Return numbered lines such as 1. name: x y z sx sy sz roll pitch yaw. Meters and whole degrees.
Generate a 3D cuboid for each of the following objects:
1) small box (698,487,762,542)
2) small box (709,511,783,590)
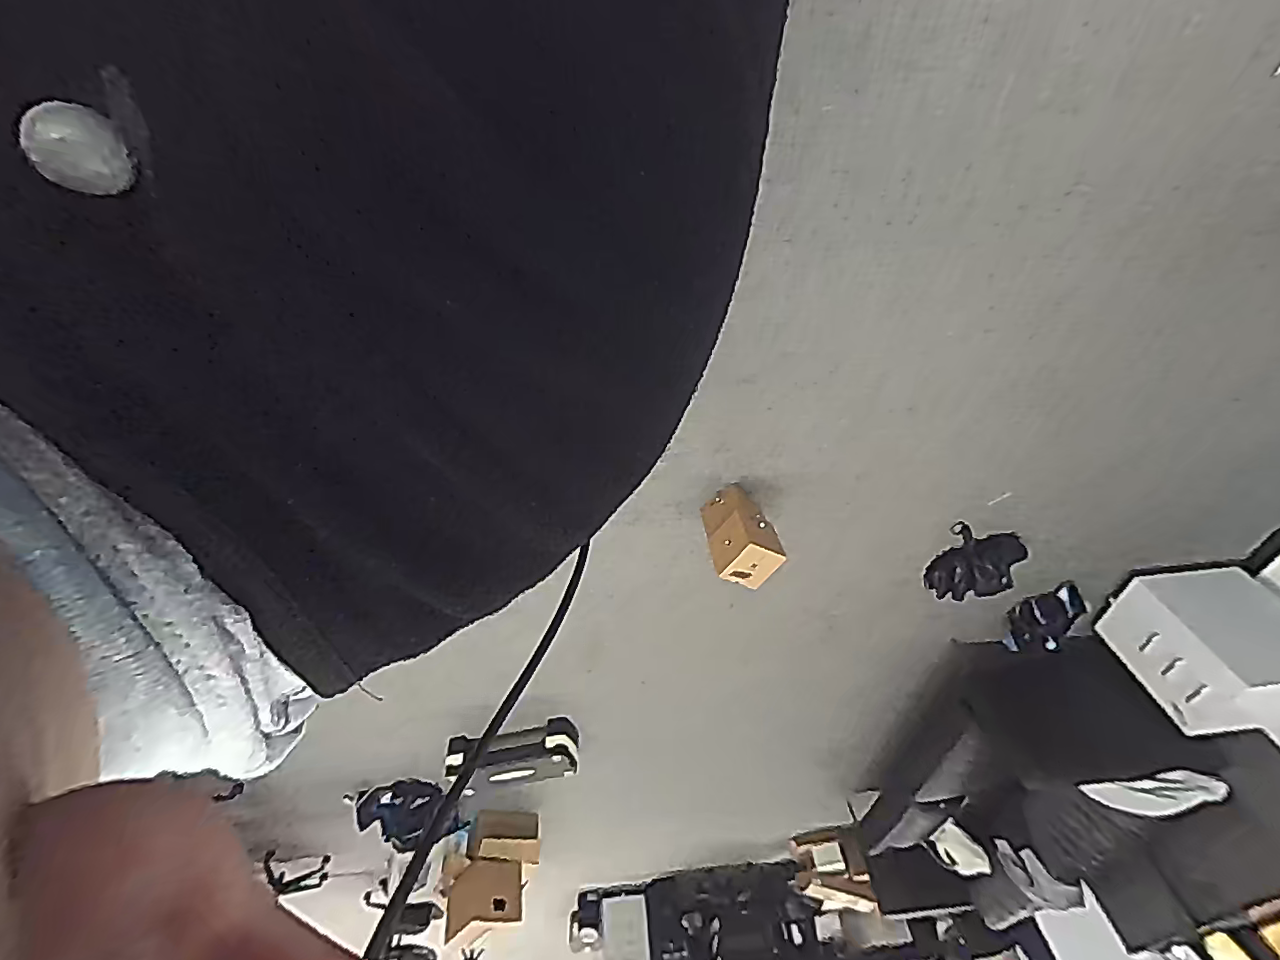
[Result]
1. small box: 0.337 0.155 1.979 0.179 0.176 0.168 35 116 -29
2. small box: 0.350 0.237 1.834 0.168 0.176 0.179 22 122 -25
